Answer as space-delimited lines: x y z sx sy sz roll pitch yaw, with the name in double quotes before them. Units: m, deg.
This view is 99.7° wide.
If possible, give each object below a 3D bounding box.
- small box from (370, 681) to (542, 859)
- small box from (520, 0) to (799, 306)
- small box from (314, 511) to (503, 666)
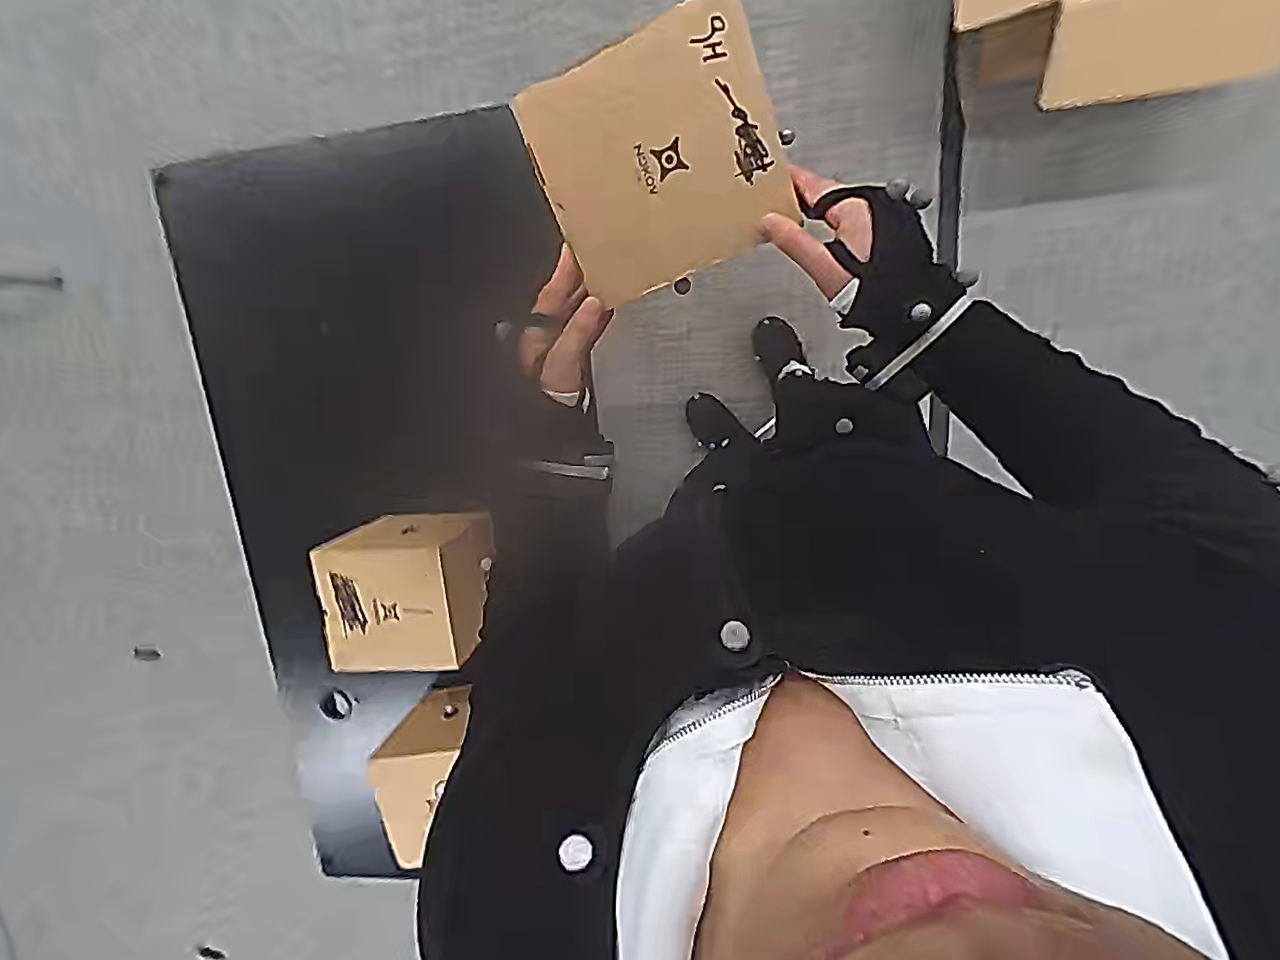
"small box" -0.266 0.426 0.822 0.168 0.176 0.179 -11 101 10
"small box" 0.026 -0.267 0.481 0.179 0.176 0.168 -17 109 14
"small box" -0.315 0.146 0.768 0.179 0.176 0.168 -3 102 7
